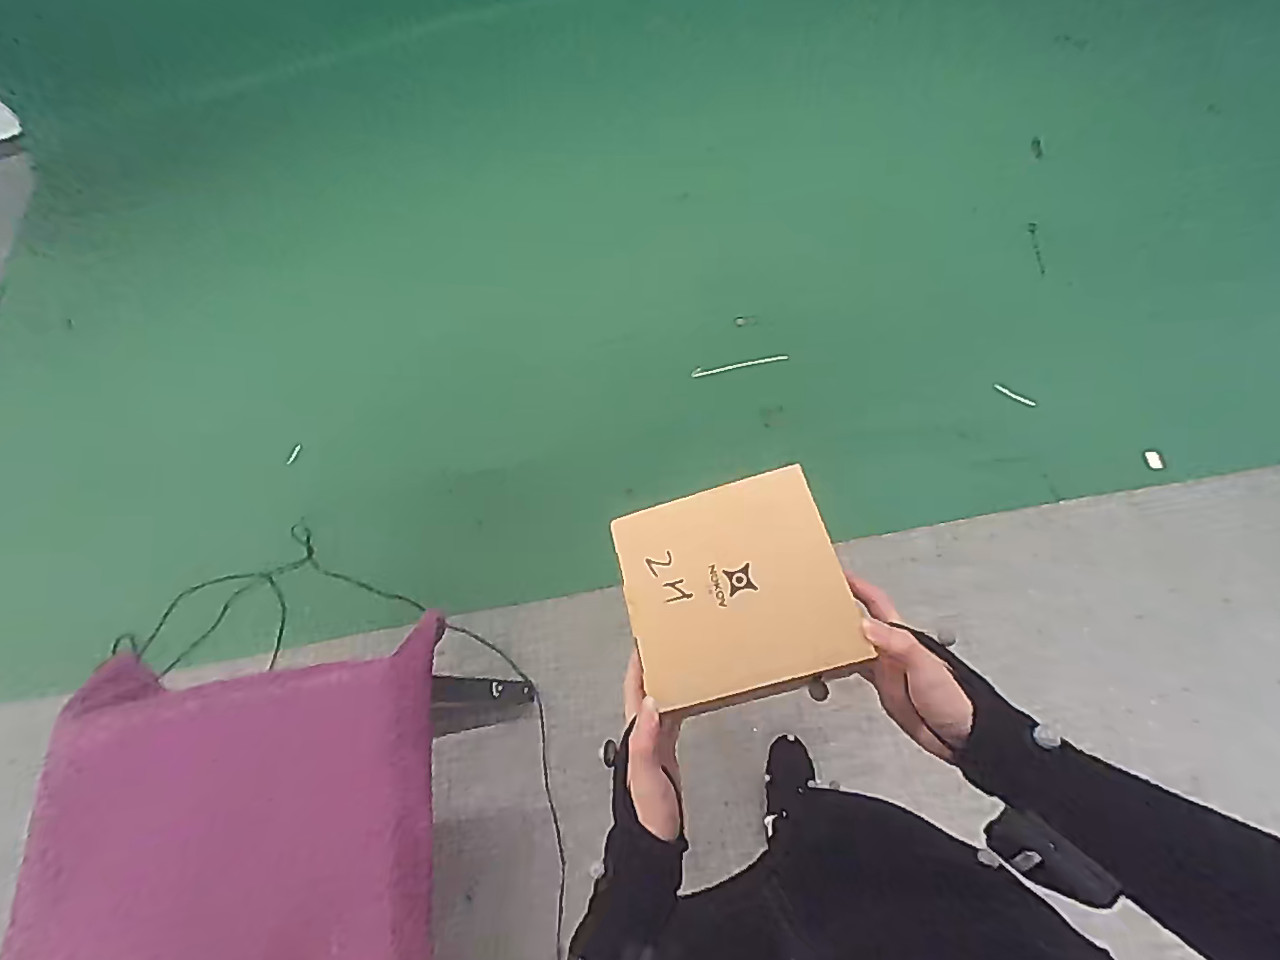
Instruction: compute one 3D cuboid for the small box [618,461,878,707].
[{"bbox_3d":[0.095,0.108,0.509,0.179,0.176,0.168,-17,62,8],"label":"small box"}]
